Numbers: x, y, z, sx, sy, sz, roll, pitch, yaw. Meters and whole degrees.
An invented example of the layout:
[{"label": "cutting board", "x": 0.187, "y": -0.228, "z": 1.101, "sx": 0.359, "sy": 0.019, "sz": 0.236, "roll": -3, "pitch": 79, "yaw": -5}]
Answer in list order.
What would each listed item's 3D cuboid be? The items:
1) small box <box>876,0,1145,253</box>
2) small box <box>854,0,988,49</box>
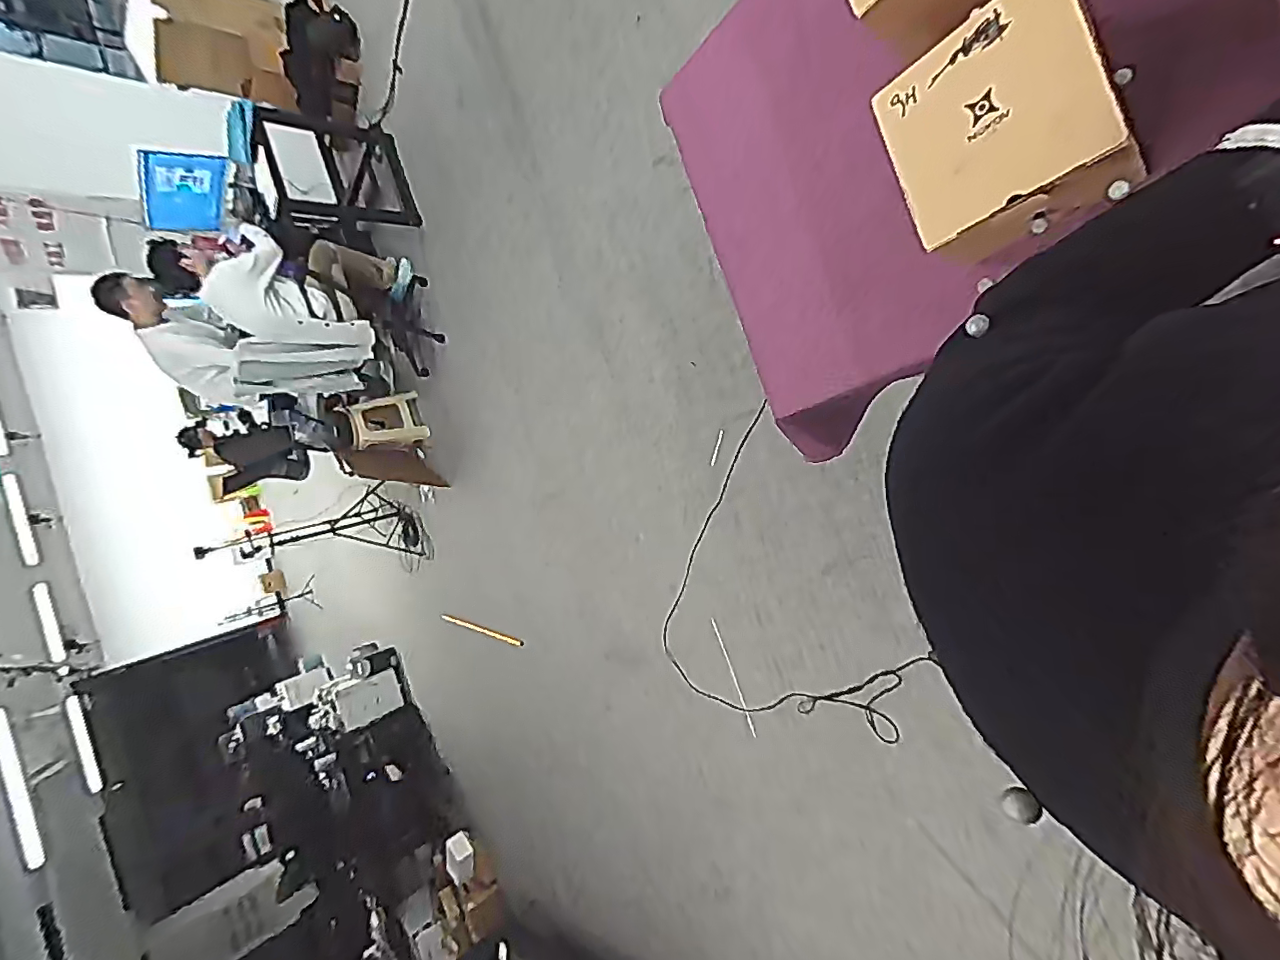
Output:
[{"label": "small box", "x": 0.382, "y": -0.355, "z": 0.556, "sx": 0.168, "sy": 0.176, "sz": 0.179, "roll": -21, "pitch": 86, "yaw": 48}, {"label": "small box", "x": 0.310, "y": -0.596, "z": 0.558, "sx": 0.168, "sy": 0.176, "sz": 0.179, "roll": -22, "pitch": 86, "yaw": 47}]
